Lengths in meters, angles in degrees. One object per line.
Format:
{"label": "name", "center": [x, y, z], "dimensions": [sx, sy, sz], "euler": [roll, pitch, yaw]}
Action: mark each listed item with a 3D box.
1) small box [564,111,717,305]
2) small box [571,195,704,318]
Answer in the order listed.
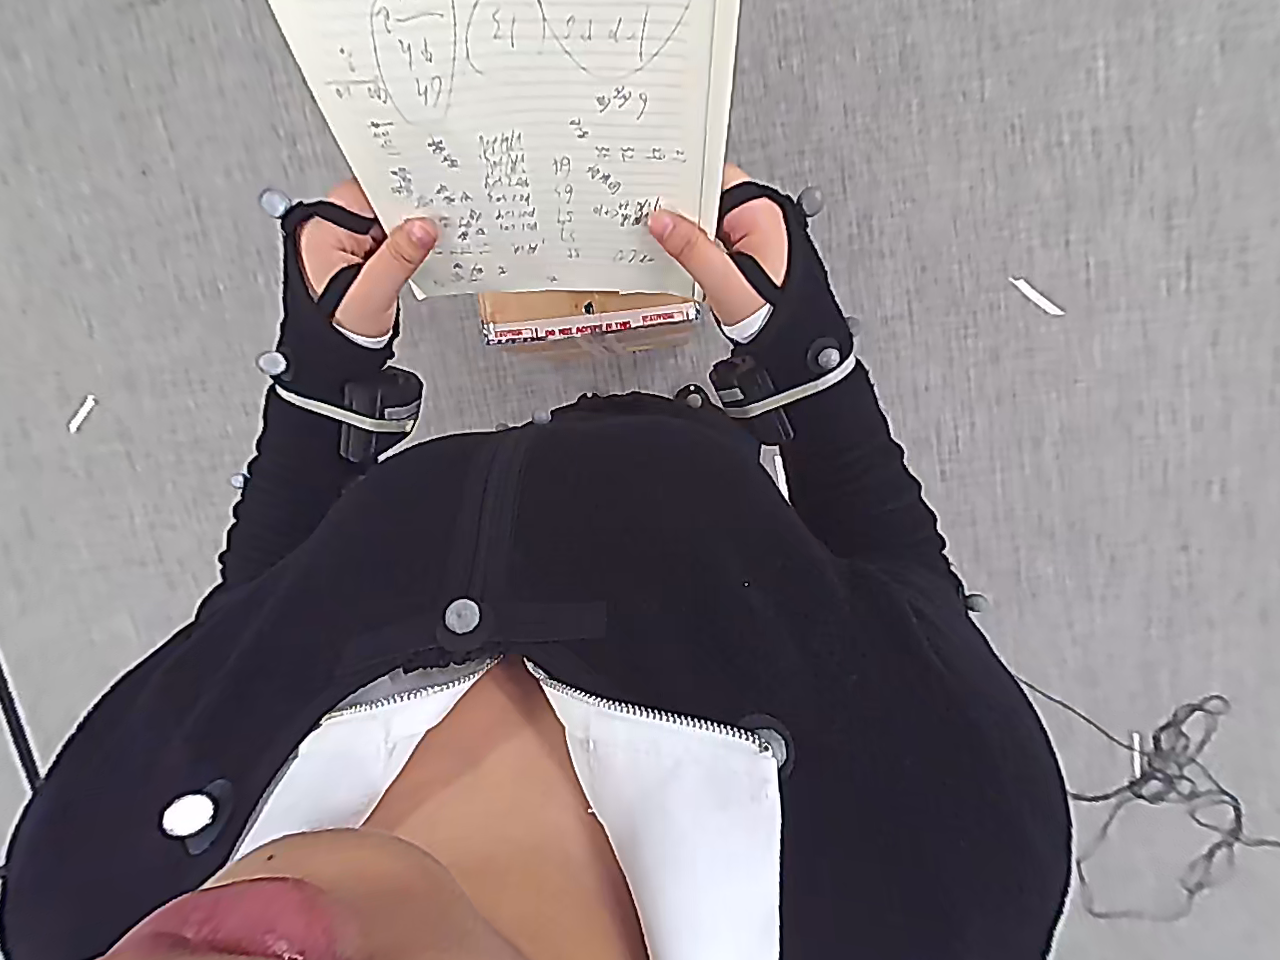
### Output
{"label": "small box", "center": [0.000, -0.340, 0.707], "dimensions": [0.168, 0.176, 0.179], "euler": [-7, 100, 1]}
{"label": "small box", "center": [-0.003, -0.366, 0.870], "dimensions": [0.179, 0.176, 0.168], "euler": [-10, 99, 2]}
